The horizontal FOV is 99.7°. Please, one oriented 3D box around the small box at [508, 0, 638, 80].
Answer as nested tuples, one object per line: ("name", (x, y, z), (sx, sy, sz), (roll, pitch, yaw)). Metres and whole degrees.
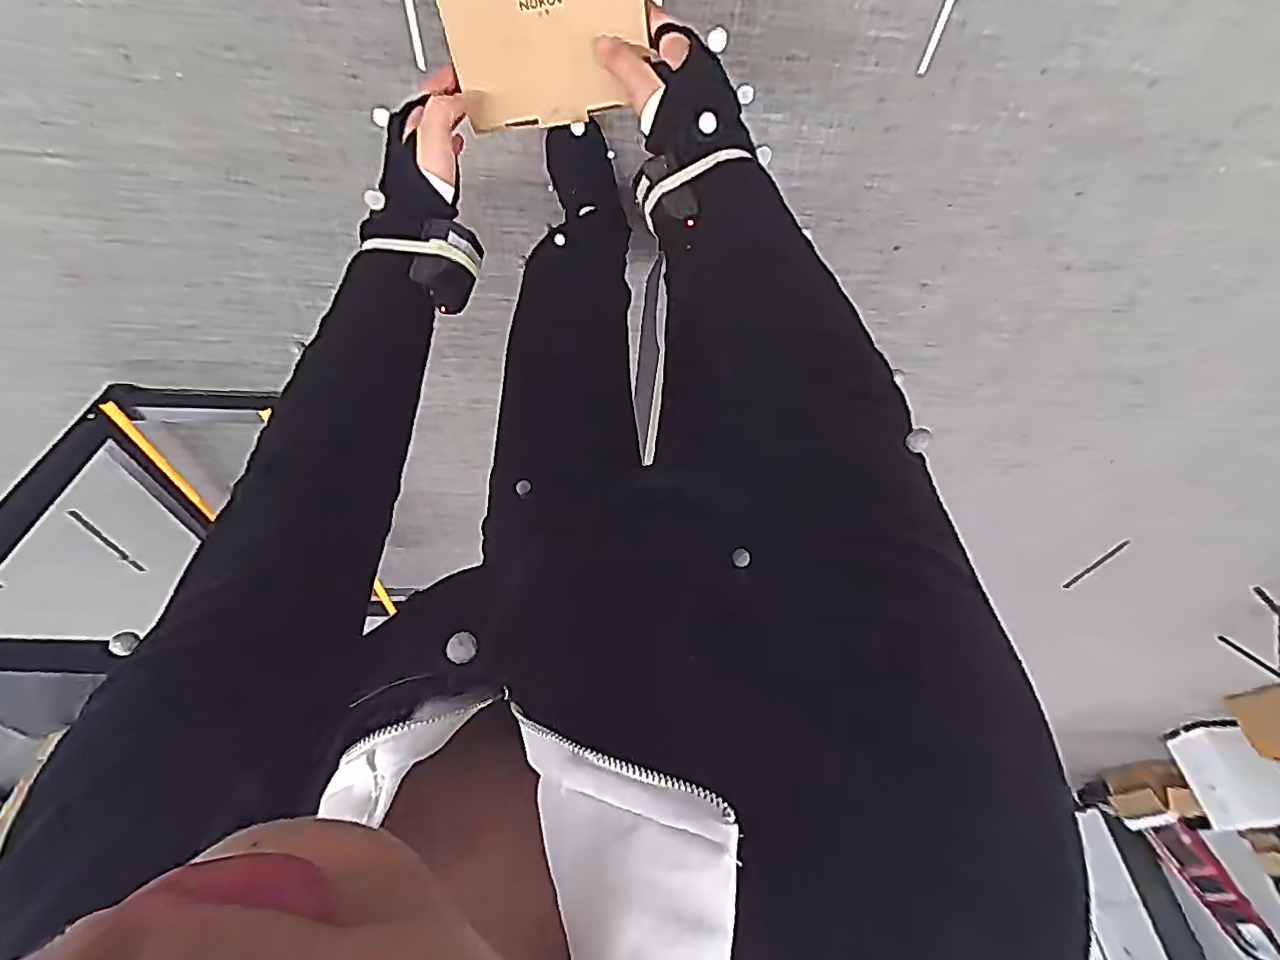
("small box", (-0.085, -0.667, 0.720), (0.168, 0.176, 0.179), (2, 142, -2))
